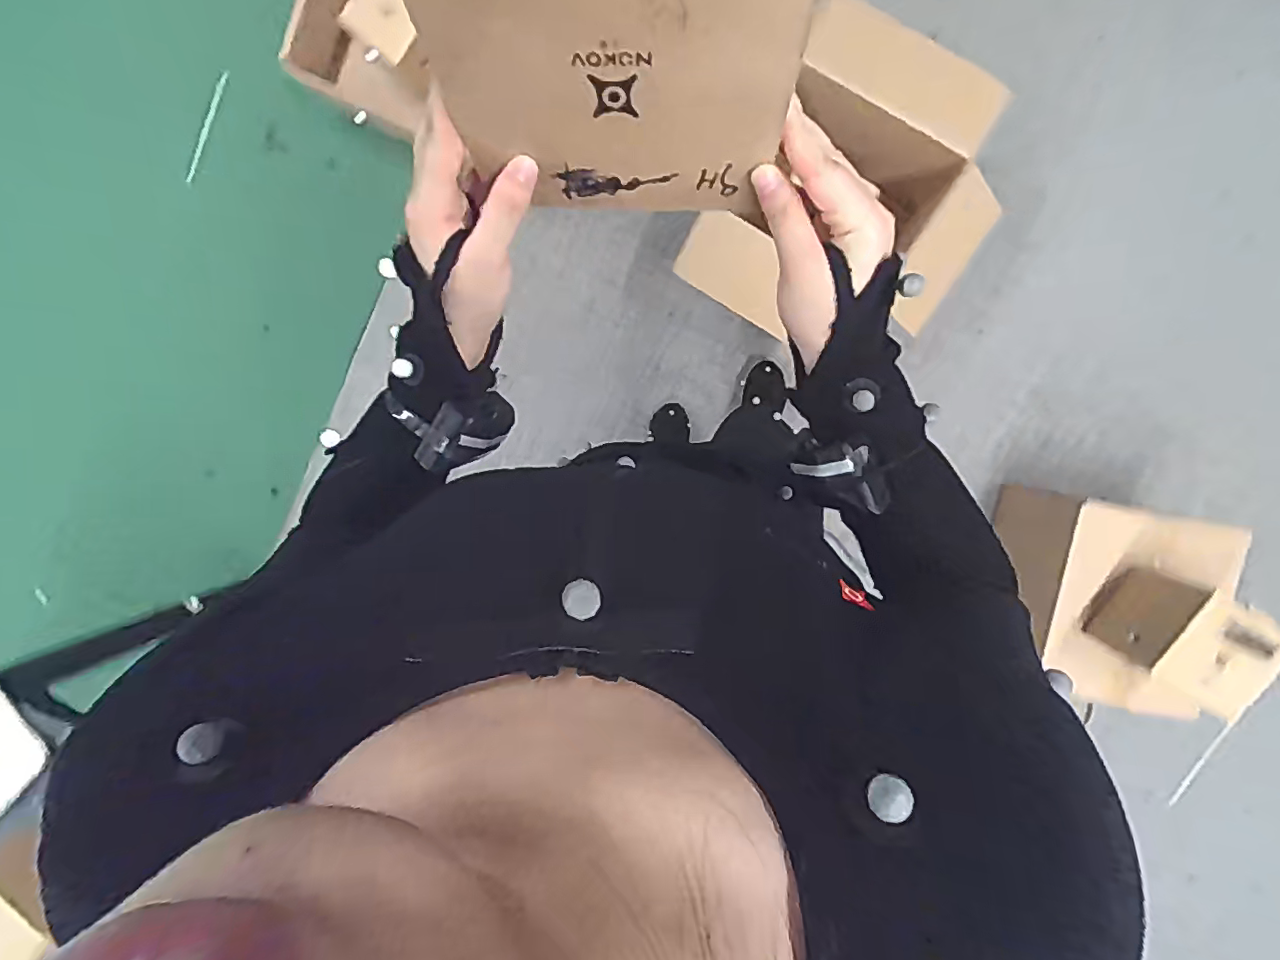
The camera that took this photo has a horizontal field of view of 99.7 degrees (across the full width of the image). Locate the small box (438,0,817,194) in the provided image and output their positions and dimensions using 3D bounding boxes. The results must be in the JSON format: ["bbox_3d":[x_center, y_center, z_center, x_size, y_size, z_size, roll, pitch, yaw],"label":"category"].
[{"bbox_3d":[-0.005,-0.279,0.272,0.168,0.179,0.176,0,79,2],"label":"small box"}]

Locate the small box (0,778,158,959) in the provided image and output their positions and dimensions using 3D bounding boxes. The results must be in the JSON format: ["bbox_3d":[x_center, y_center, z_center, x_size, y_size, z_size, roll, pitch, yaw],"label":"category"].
[{"bbox_3d":[-0.950,0.639,0.876,0.168,0.176,0.179,44,101,0],"label":"small box"}]

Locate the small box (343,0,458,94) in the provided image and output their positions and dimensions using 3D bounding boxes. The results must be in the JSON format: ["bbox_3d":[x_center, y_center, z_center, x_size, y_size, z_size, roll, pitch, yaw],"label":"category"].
[{"bbox_3d":[-0.555,-1.081,1.300,0.179,0.176,0.168,40,99,0],"label":"small box"}]
